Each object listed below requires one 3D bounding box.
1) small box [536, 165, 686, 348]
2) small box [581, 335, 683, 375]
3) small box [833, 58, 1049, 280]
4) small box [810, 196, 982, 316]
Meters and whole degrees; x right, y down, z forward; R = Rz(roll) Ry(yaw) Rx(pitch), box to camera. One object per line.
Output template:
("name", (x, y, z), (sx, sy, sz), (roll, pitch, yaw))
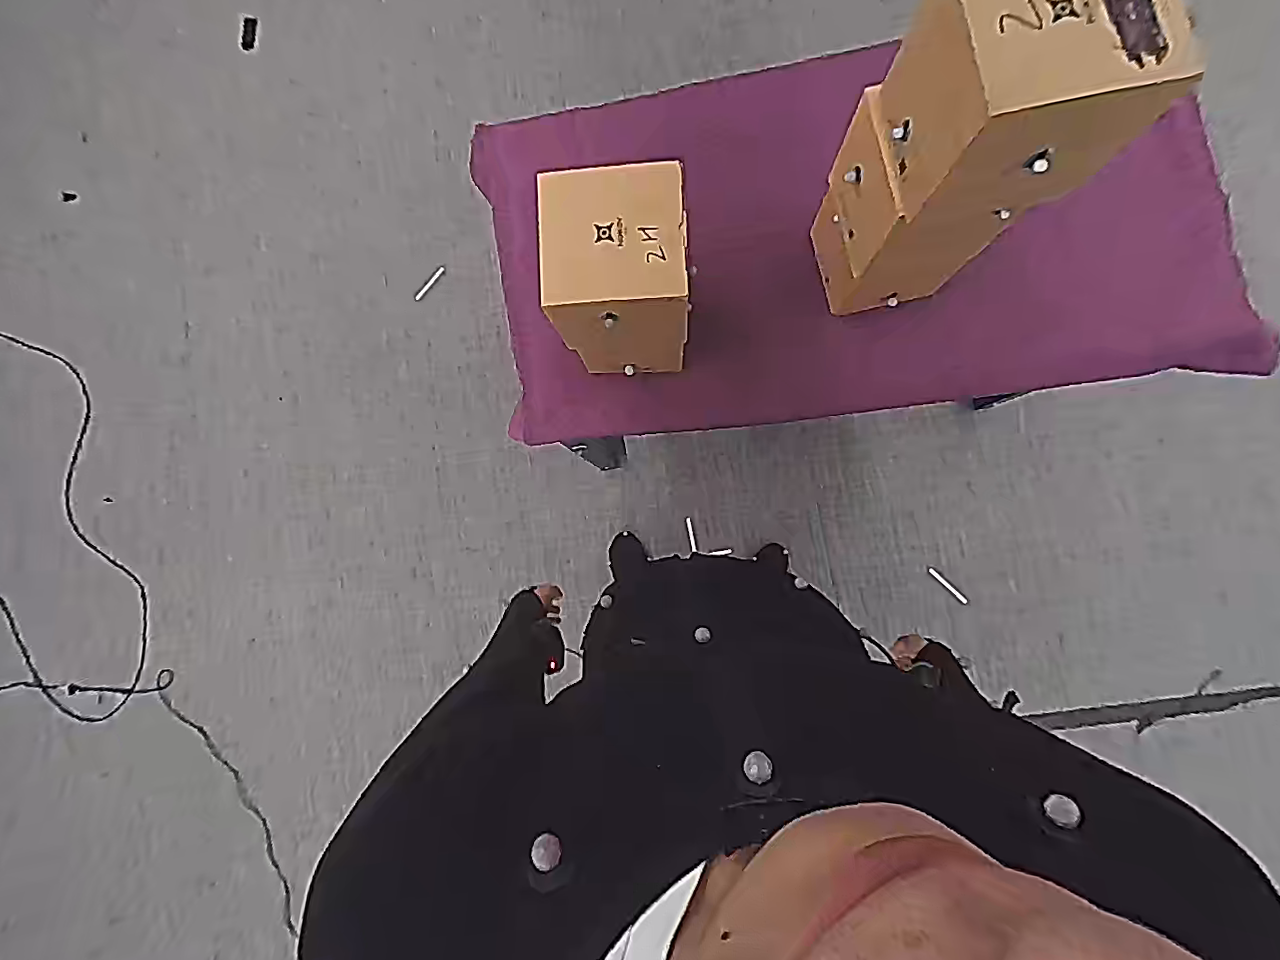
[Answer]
("small box", (-0.029, -0.279, 0.712), (0.179, 0.176, 0.168), (-2, 86, 3))
("small box", (-0.014, -0.278, 0.876), (0.168, 0.176, 0.179), (0, 87, 4))
("small box", (0.364, -0.382, 0.696), (0.179, 0.176, 0.168), (-12, 84, 2))
("small box", (0.392, -0.382, 0.858), (0.179, 0.176, 0.168), (-12, 83, 2))
